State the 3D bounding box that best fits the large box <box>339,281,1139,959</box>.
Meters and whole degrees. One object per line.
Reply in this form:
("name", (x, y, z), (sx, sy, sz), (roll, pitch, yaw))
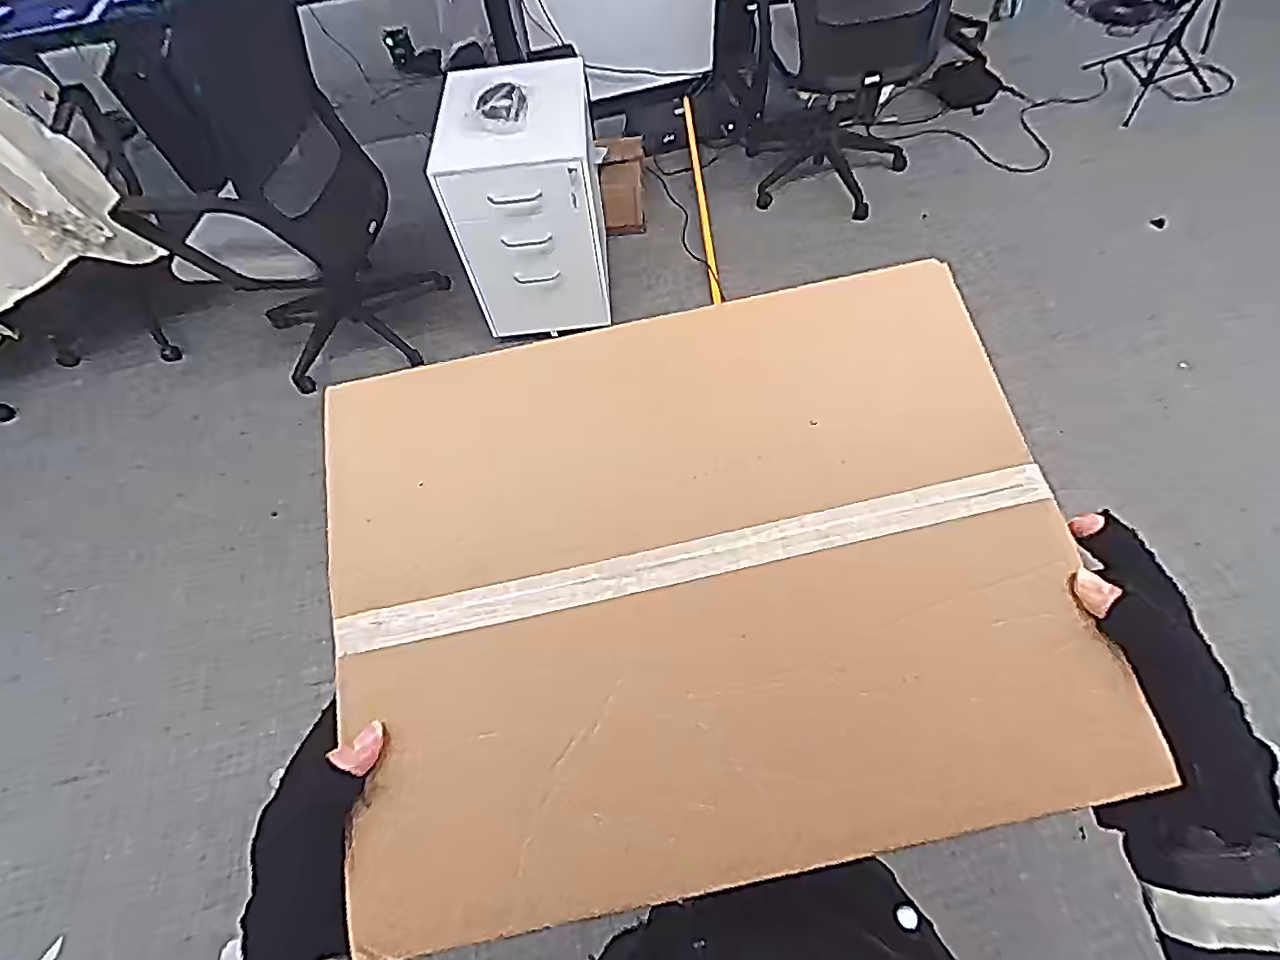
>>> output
("large box", (0.039, 0.095, 0.454), (0.408, 0.320, 0.320), (-13, 72, 0))
